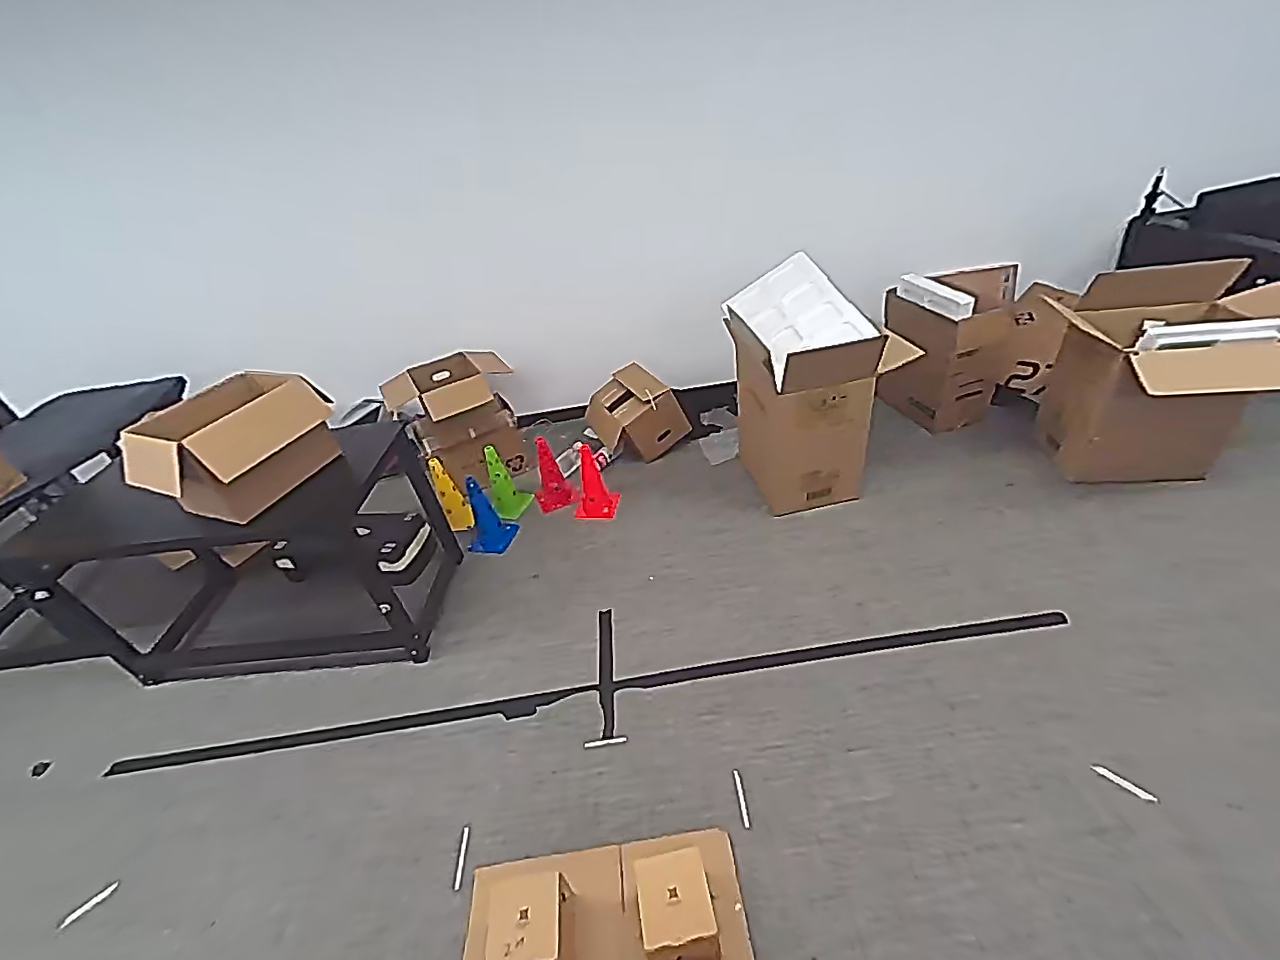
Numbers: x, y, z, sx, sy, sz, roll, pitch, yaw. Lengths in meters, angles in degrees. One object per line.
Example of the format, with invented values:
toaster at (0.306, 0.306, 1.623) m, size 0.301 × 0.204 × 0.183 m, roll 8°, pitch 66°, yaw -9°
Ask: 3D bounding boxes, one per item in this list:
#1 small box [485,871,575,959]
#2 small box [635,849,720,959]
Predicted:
small box at (-0.253, 1.067, 1.276) m, size 0.168 × 0.176 × 0.179 m, roll -10°, pitch 36°, yaw 0°
small box at (0.087, 1.017, 1.277) m, size 0.168 × 0.176 × 0.179 m, roll -12°, pitch 36°, yaw -3°
